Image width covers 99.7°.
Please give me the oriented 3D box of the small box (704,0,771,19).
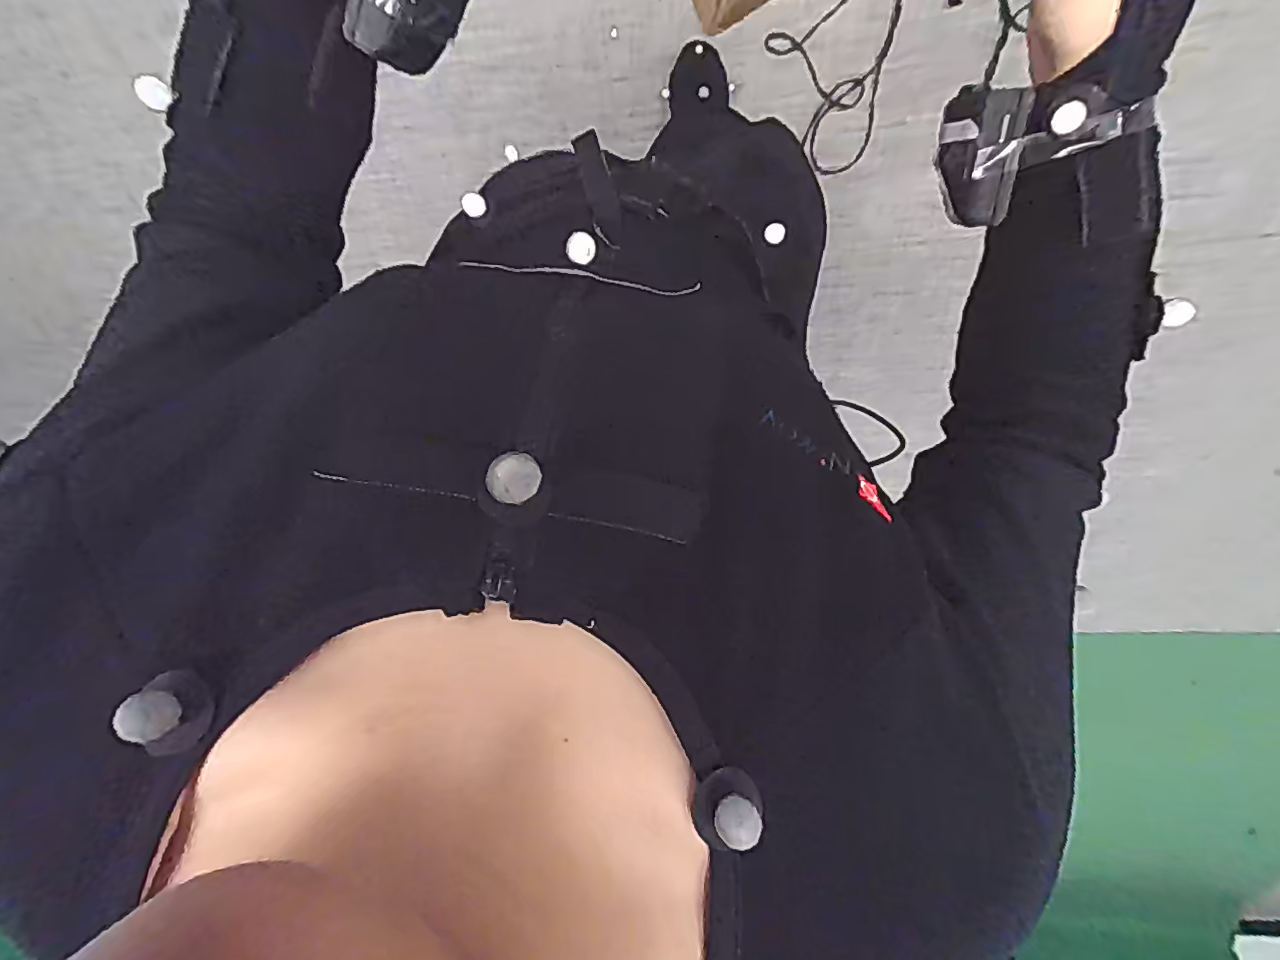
[{"bbox_3d":[0.070,-0.283,0.155,0.179,0.176,0.168,-22,117,18],"label":"small box"}]
